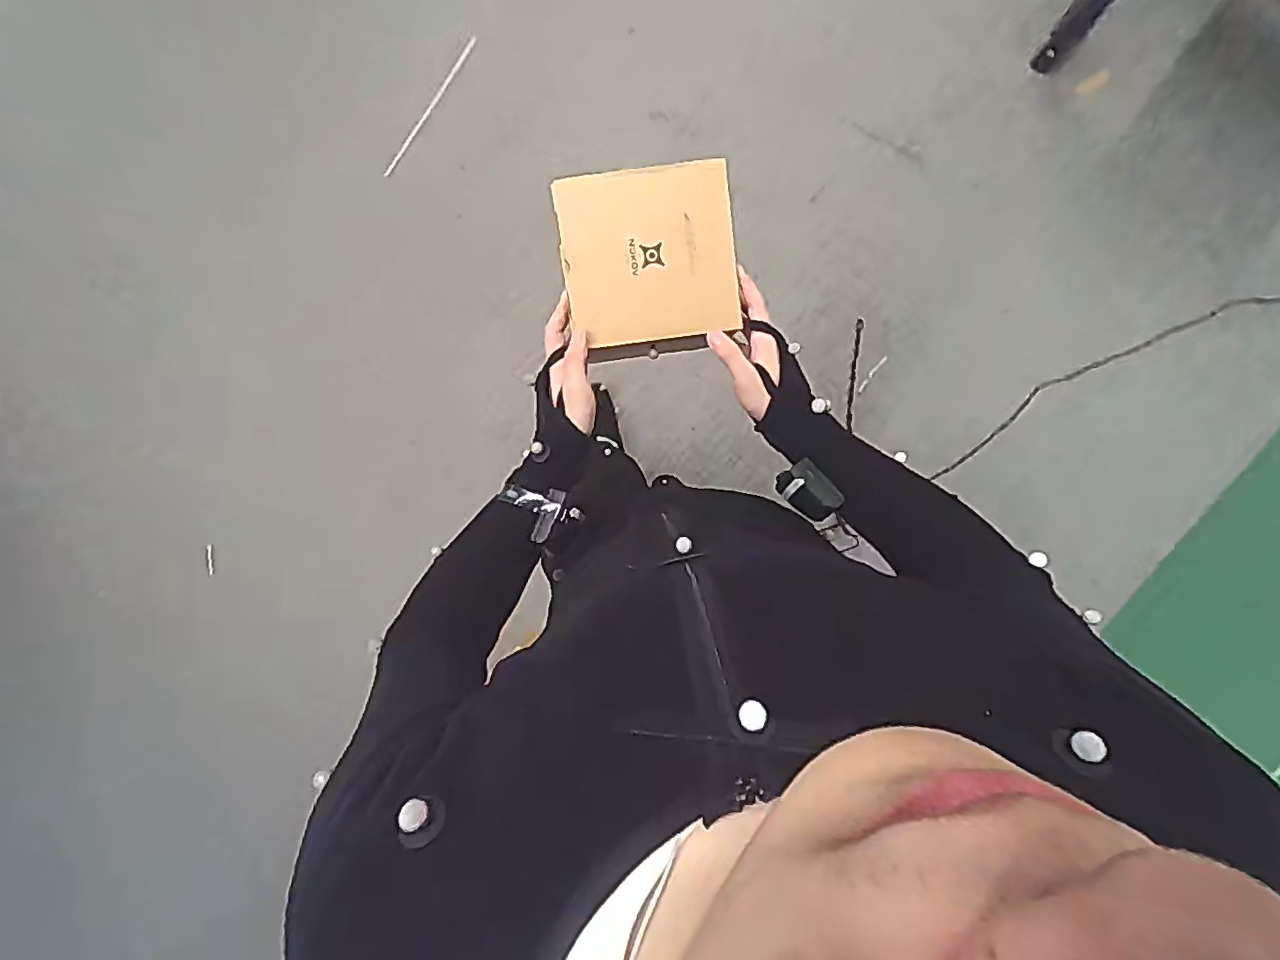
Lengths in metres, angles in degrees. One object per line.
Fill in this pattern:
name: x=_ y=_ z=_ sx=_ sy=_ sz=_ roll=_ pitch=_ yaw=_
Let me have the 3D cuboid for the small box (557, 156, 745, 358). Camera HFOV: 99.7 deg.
small box: x=0.013 y=-0.236 z=0.615 sx=0.179 sy=0.176 sz=0.168 roll=-6 pitch=98 yaw=0

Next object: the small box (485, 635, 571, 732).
small box: x=-0.320 y=0.588 z=1.593 sx=0.168 sy=0.176 sz=0.179 roll=37 pitch=95 yaw=1
